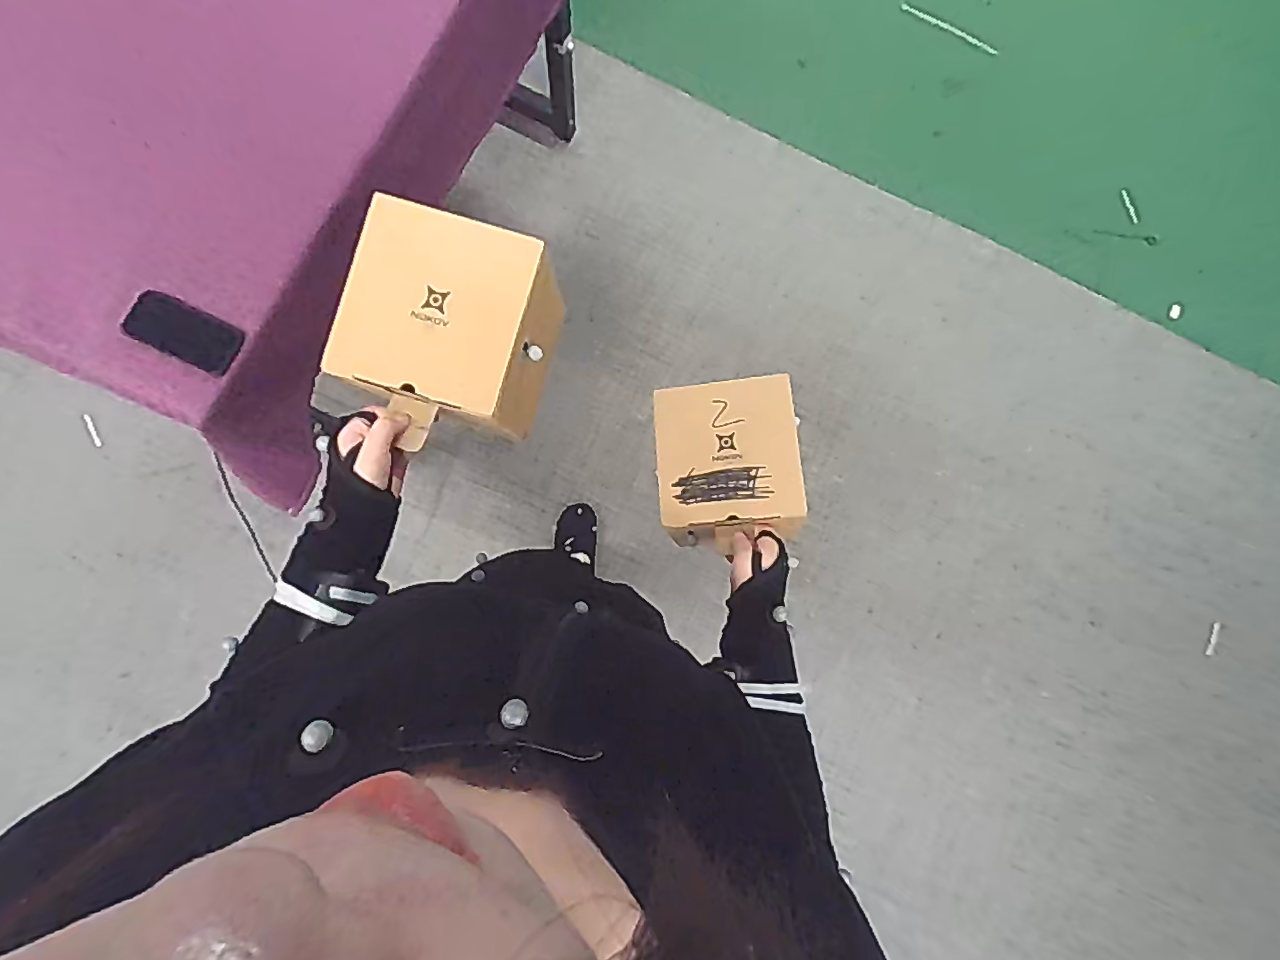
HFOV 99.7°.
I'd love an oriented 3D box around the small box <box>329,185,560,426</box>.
[{"bbox_3d":[-0.190,-0.169,0.585,0.168,0.176,0.179,17,89,-2],"label":"small box"}]
